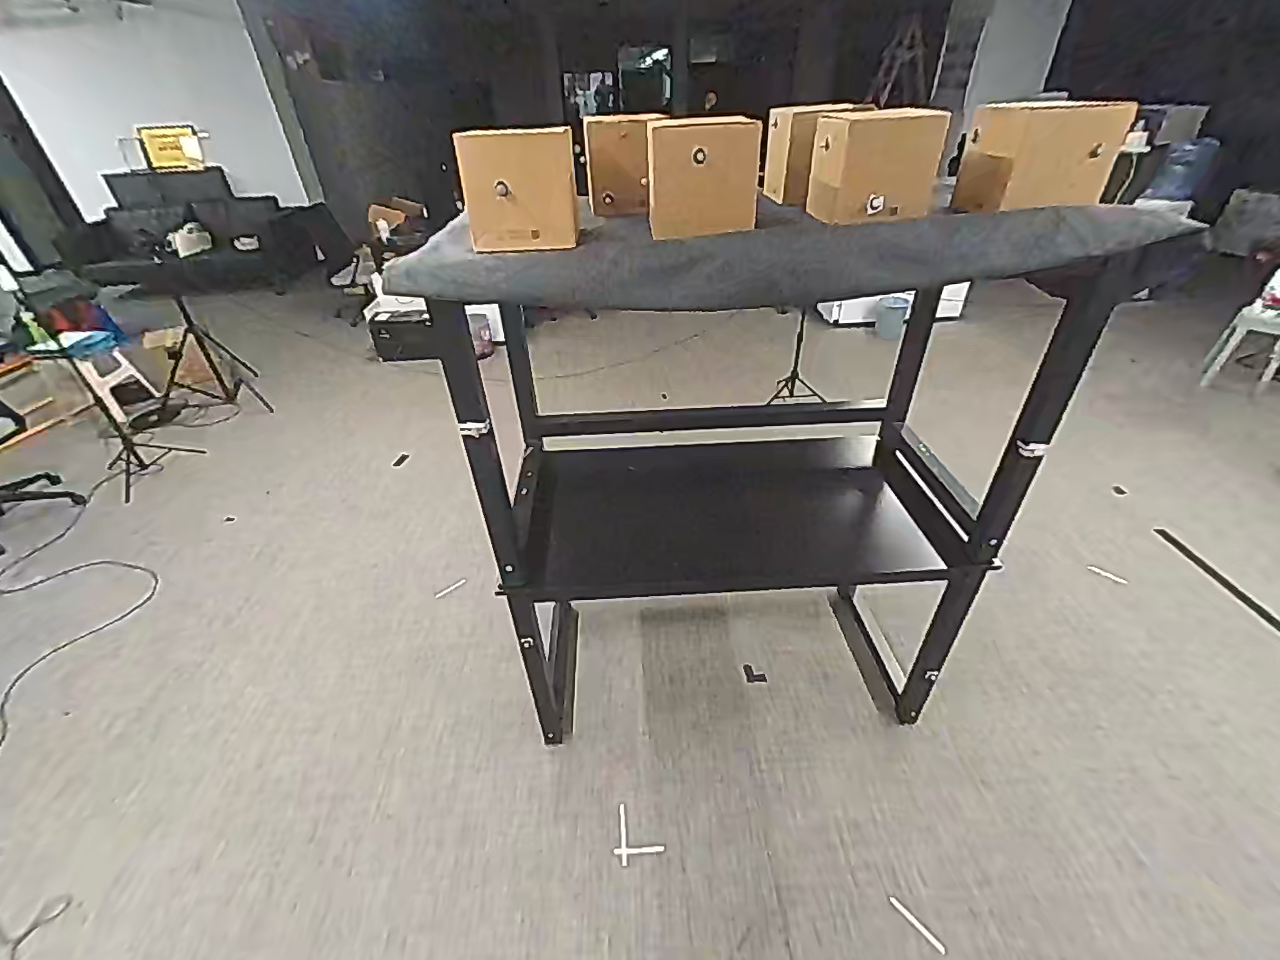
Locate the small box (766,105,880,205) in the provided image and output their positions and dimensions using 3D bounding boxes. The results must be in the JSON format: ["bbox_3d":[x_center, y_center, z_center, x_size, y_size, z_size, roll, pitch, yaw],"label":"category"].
[{"bbox_3d":[0.381,-0.699,1.161,0.179,0.176,0.168,-3,35,-2],"label":"small box"}]

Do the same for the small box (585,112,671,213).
[{"bbox_3d":[-0.025,-0.669,1.144,0.168,0.176,0.179,-5,36,-4],"label":"small box"}]

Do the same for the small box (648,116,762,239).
[{"bbox_3d":[0.106,-0.525,0.939,0.179,0.176,0.168,-2,36,0],"label":"small box"}]

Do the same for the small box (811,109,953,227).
[{"bbox_3d":[0.417,-0.559,0.968,0.168,0.176,0.179,-3,35,1],"label":"small box"}]

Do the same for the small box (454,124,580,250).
[{"bbox_3d":[-0.192,-0.488,0.905,0.168,0.176,0.179,-3,34,-1],"label":"small box"}]
